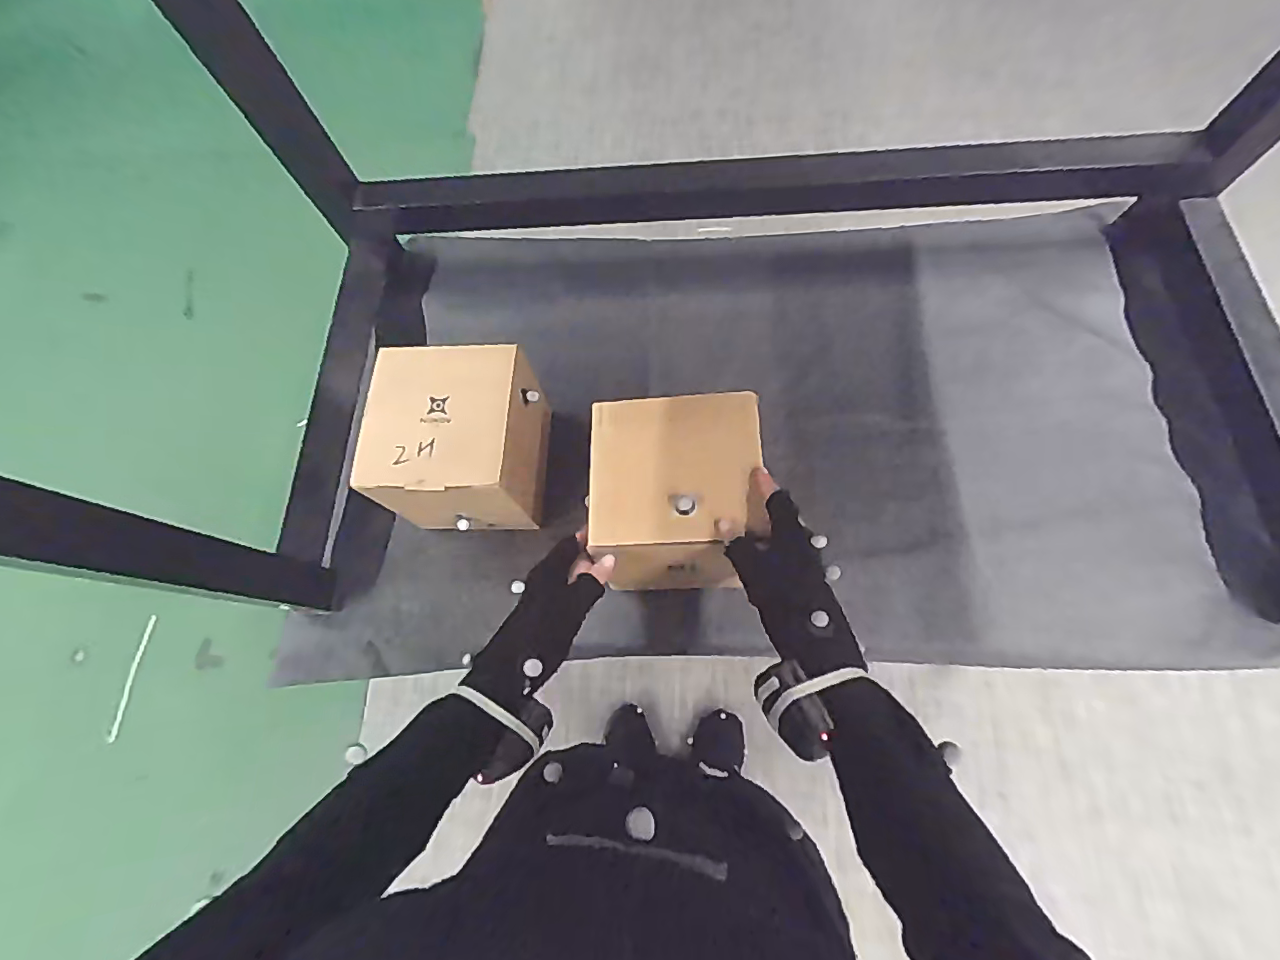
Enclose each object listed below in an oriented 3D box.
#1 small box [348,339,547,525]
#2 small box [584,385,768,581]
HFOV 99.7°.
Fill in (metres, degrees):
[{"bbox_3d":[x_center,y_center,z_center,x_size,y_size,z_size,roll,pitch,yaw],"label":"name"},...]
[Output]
[{"bbox_3d":[-0.218,-0.052,0.668,0.168,0.176,0.179,0,69,6],"label":"small box"},{"bbox_3d":[0.039,0.009,0.613,0.179,0.168,0.176,-4,65,5],"label":"small box"}]
